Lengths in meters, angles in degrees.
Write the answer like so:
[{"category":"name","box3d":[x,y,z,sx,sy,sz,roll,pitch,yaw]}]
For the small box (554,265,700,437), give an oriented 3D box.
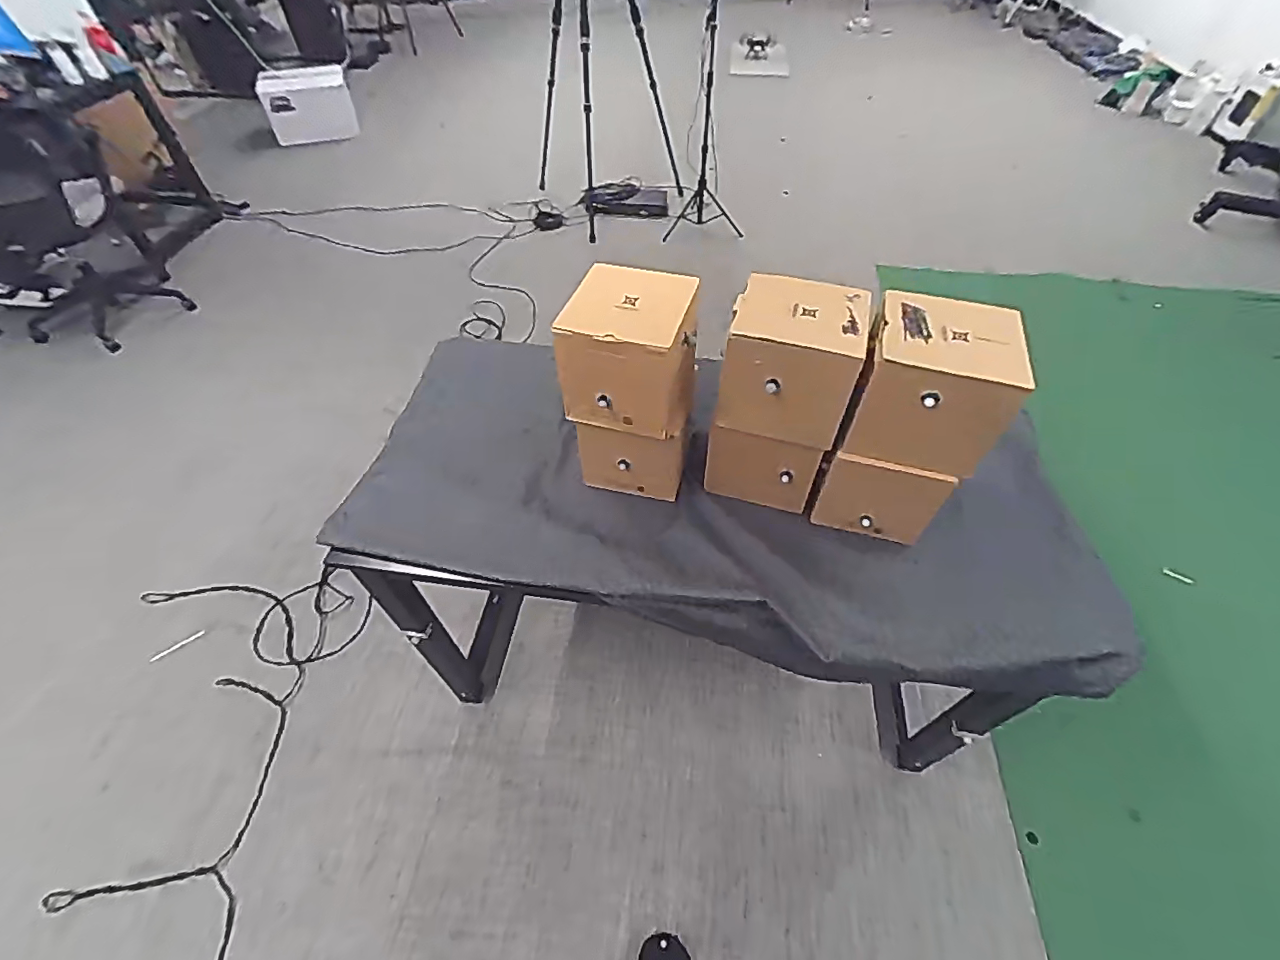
[{"category":"small box","box3d":[-0.014,-0.193,0.815,0.168,0.176,0.179,12,53,12]}]
